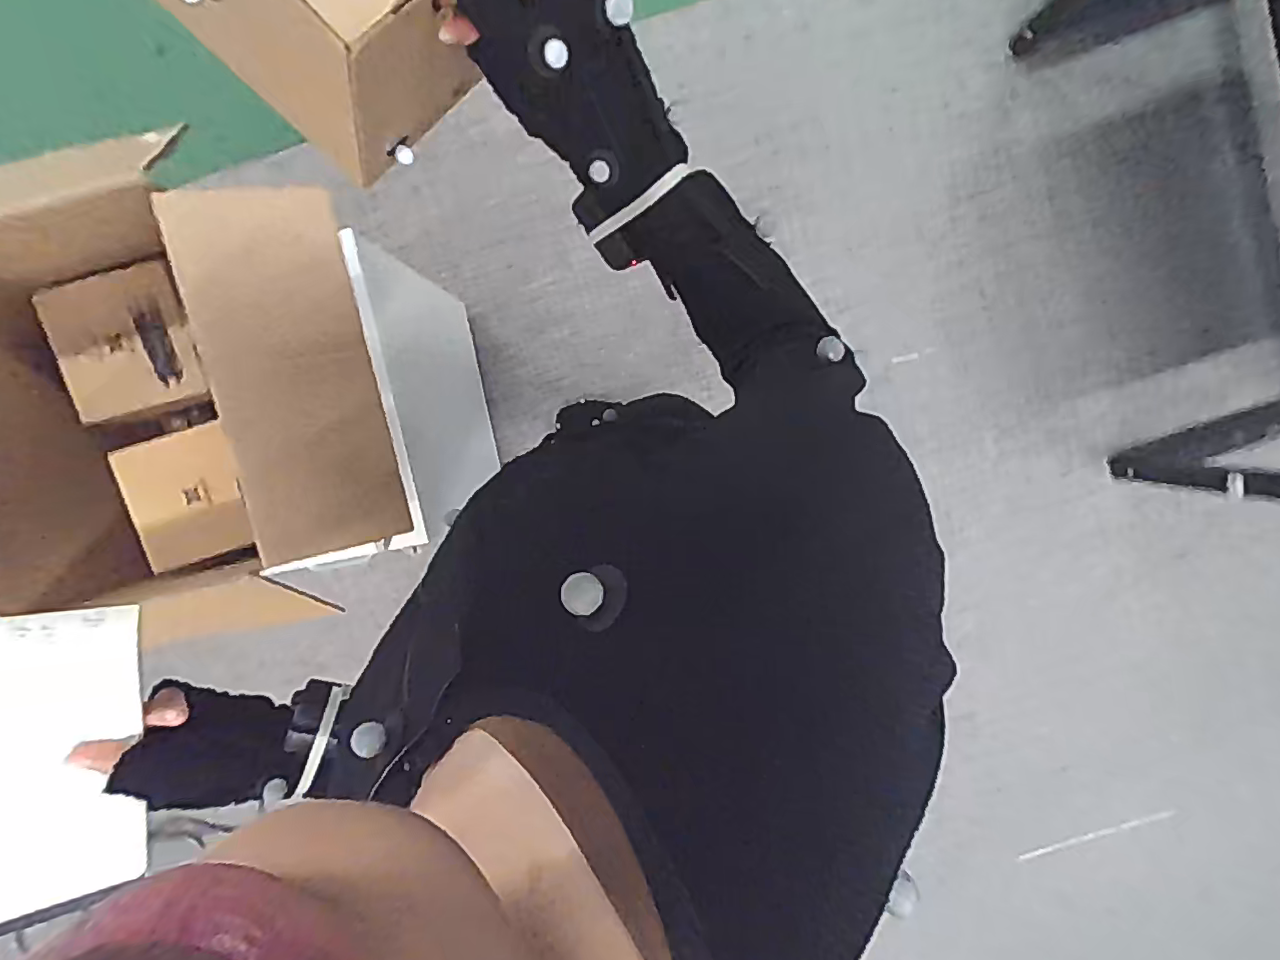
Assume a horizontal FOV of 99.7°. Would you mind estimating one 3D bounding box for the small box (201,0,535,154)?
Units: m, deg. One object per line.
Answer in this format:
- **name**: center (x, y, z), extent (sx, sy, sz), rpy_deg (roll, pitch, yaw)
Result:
- **small box**: center (-0.167, -0.332, 0.317), extent (0.179, 0.176, 0.168), rpy_deg (43, 77, -21)
